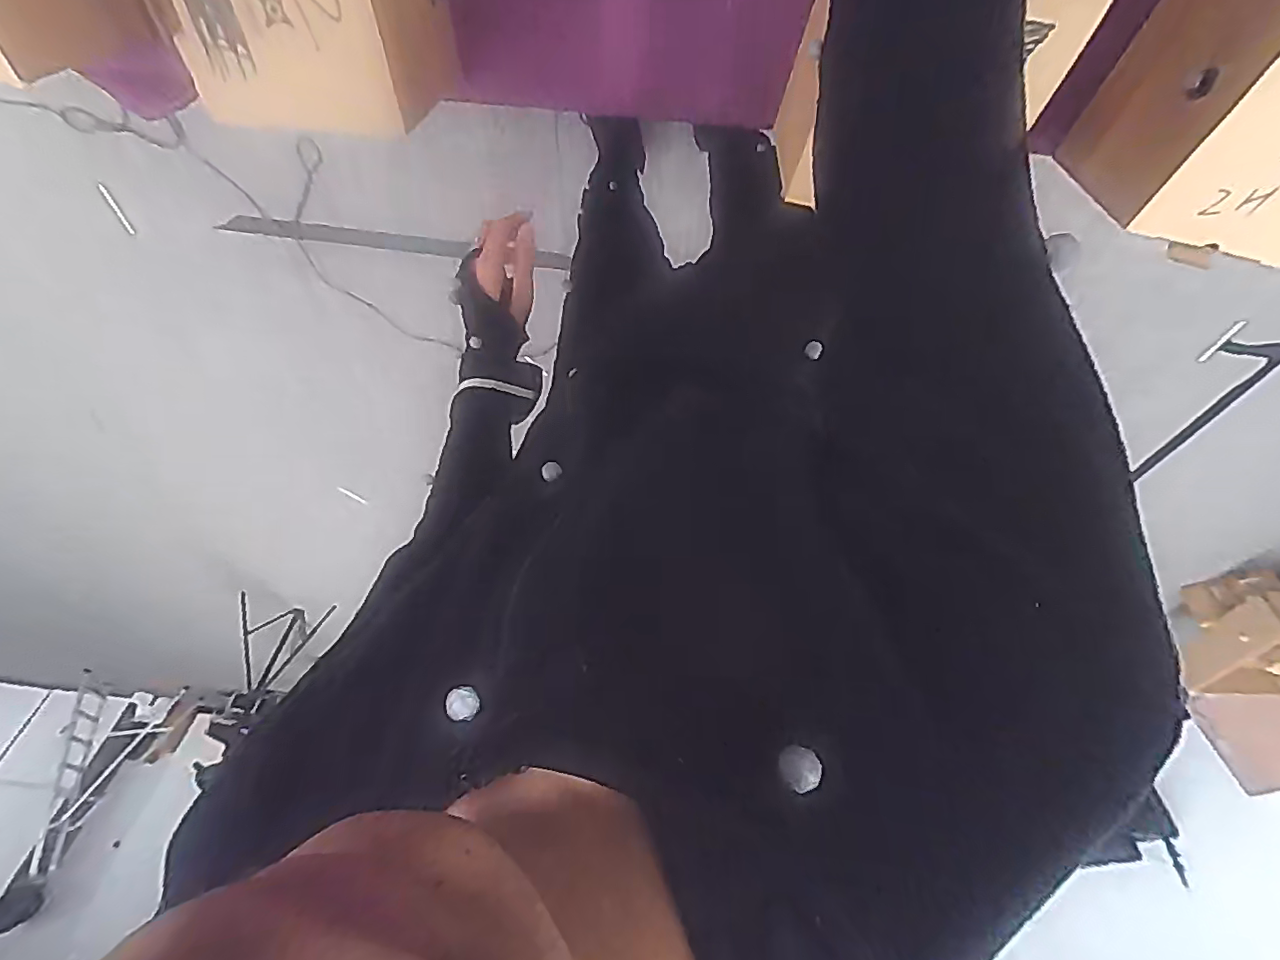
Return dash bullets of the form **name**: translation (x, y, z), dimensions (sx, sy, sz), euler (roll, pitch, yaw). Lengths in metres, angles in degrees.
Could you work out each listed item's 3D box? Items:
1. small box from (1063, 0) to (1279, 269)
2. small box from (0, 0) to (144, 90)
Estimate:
- **small box**: translation (0.519, -0.316, 0.459), dimensions (0.168, 0.176, 0.179), euler (11, 140, -4)
- **small box**: translation (-0.599, -0.459, 0.456), dimensions (0.179, 0.176, 0.168), euler (6, 141, 0)
